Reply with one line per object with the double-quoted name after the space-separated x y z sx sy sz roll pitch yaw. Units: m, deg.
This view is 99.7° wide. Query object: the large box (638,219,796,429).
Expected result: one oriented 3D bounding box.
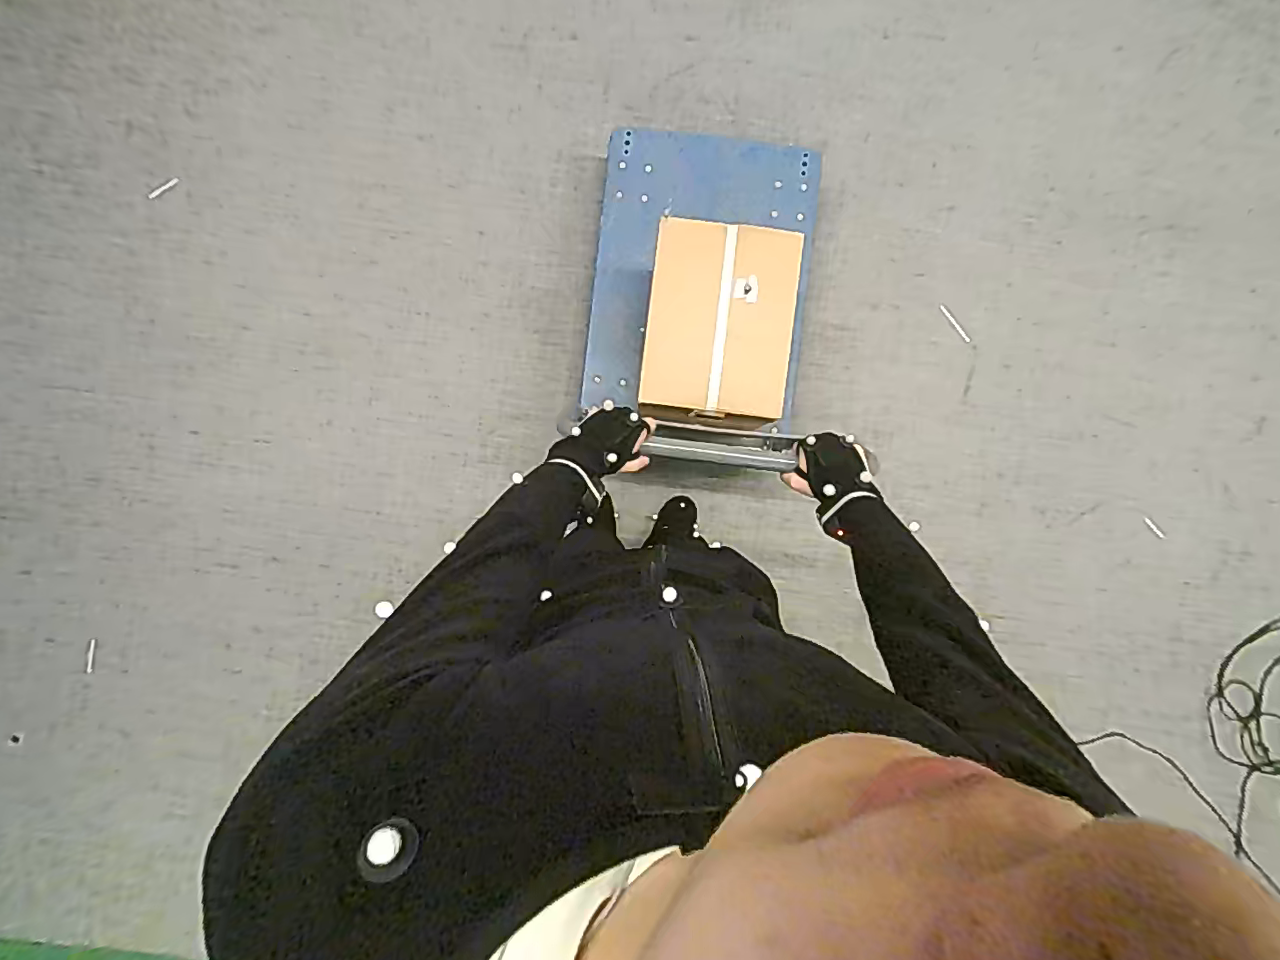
0.166 -0.347 1.307 0.320 0.320 0.408 6 89 -1 "large box"
